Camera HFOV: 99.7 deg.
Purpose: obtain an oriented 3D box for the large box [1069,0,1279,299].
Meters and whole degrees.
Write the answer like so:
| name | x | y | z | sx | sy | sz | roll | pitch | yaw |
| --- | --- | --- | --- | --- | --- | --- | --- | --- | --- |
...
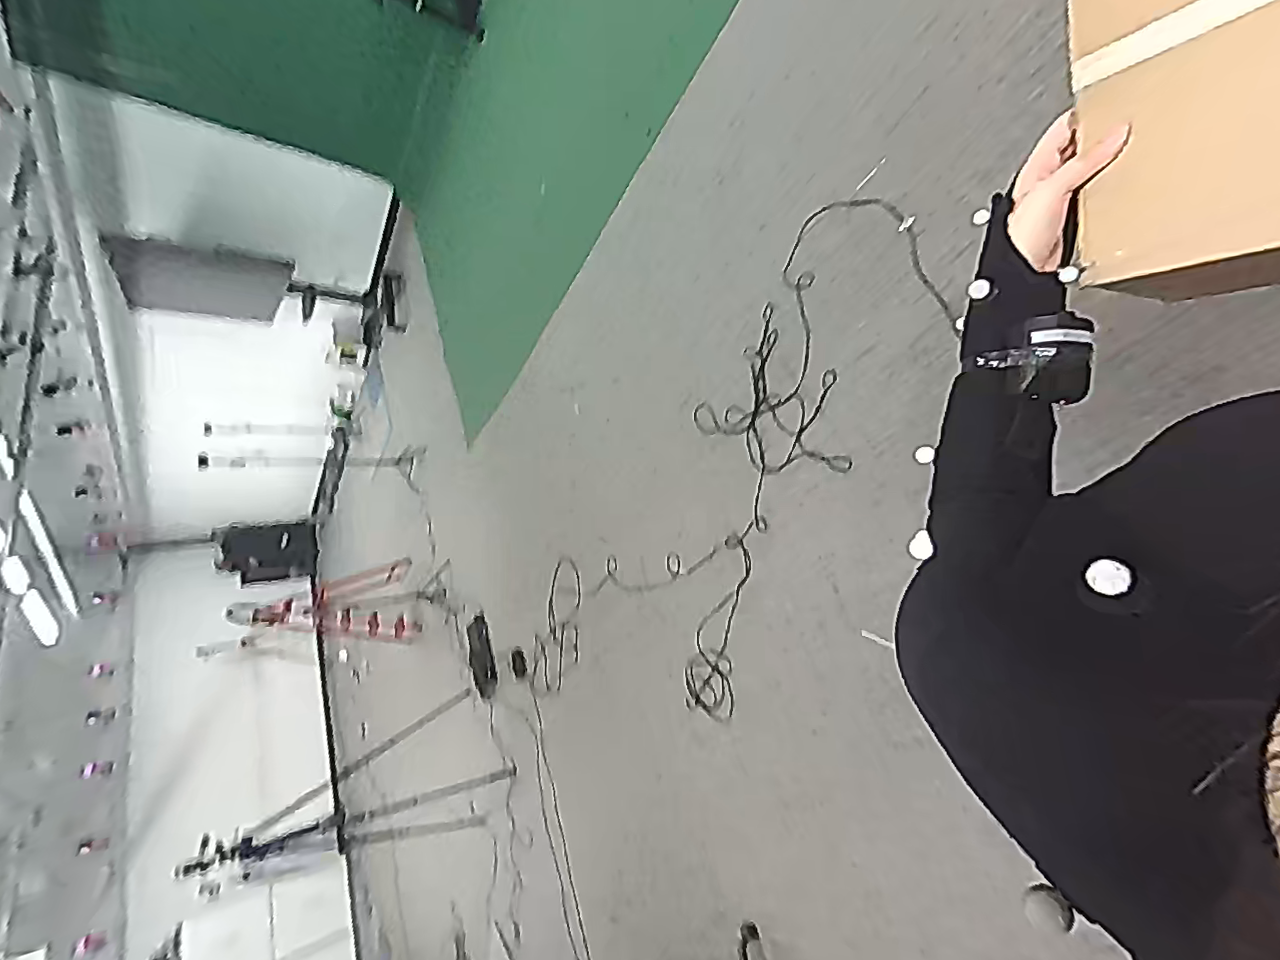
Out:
| name | x | y | z | sx | sy | sz | roll | pitch | yaw |
| --- | --- | --- | --- | --- | --- | --- | --- | --- | --- |
| large box | 0.584 | -0.329 | 0.358 | 0.408 | 0.320 | 0.320 | 1 | 99 | 54 |
